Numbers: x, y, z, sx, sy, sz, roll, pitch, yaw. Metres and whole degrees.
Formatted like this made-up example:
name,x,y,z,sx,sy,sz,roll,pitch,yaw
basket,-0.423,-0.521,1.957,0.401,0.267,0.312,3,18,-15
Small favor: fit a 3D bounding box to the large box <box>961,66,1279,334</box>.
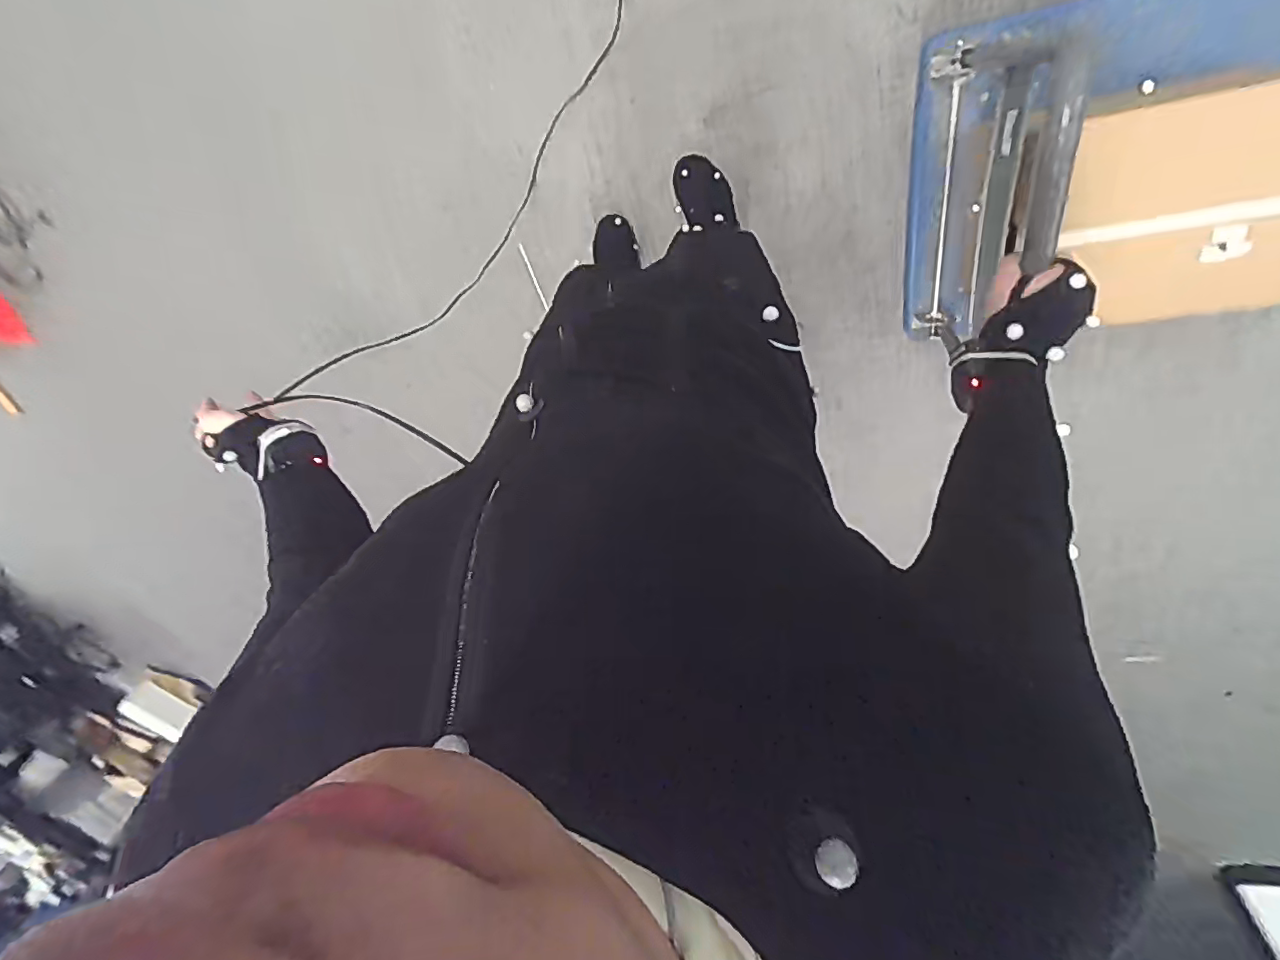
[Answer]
name,x,y,z,sx,sy,sz,roll,pitch,yaw
large box,0.826,-0.477,0.932,0.408,0.320,0.320,-4,124,16
